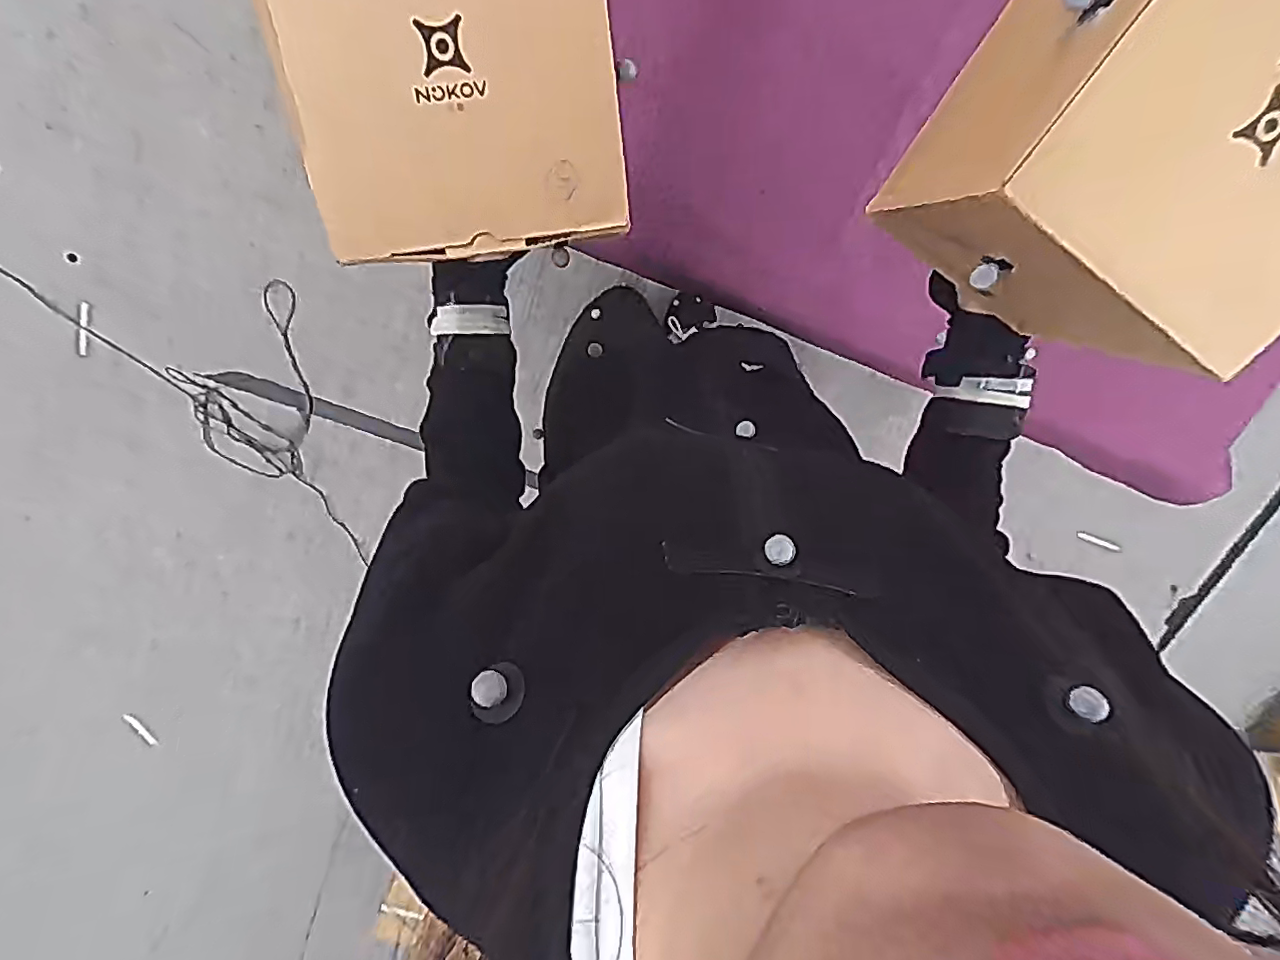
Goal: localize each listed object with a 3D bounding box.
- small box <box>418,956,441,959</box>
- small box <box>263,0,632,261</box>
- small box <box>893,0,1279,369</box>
[{"bbox_3d":[-0.588,1.482,1.506,0.168,0.176,0.179,23,107,-11],"label":"small box"},{"bbox_3d":[-0.098,-0.241,0.338,0.168,0.176,0.179,-8,113,-2],"label":"small box"},{"bbox_3d":[0.279,-0.193,0.310,0.168,0.176,0.179,31,109,-12],"label":"small box"}]
